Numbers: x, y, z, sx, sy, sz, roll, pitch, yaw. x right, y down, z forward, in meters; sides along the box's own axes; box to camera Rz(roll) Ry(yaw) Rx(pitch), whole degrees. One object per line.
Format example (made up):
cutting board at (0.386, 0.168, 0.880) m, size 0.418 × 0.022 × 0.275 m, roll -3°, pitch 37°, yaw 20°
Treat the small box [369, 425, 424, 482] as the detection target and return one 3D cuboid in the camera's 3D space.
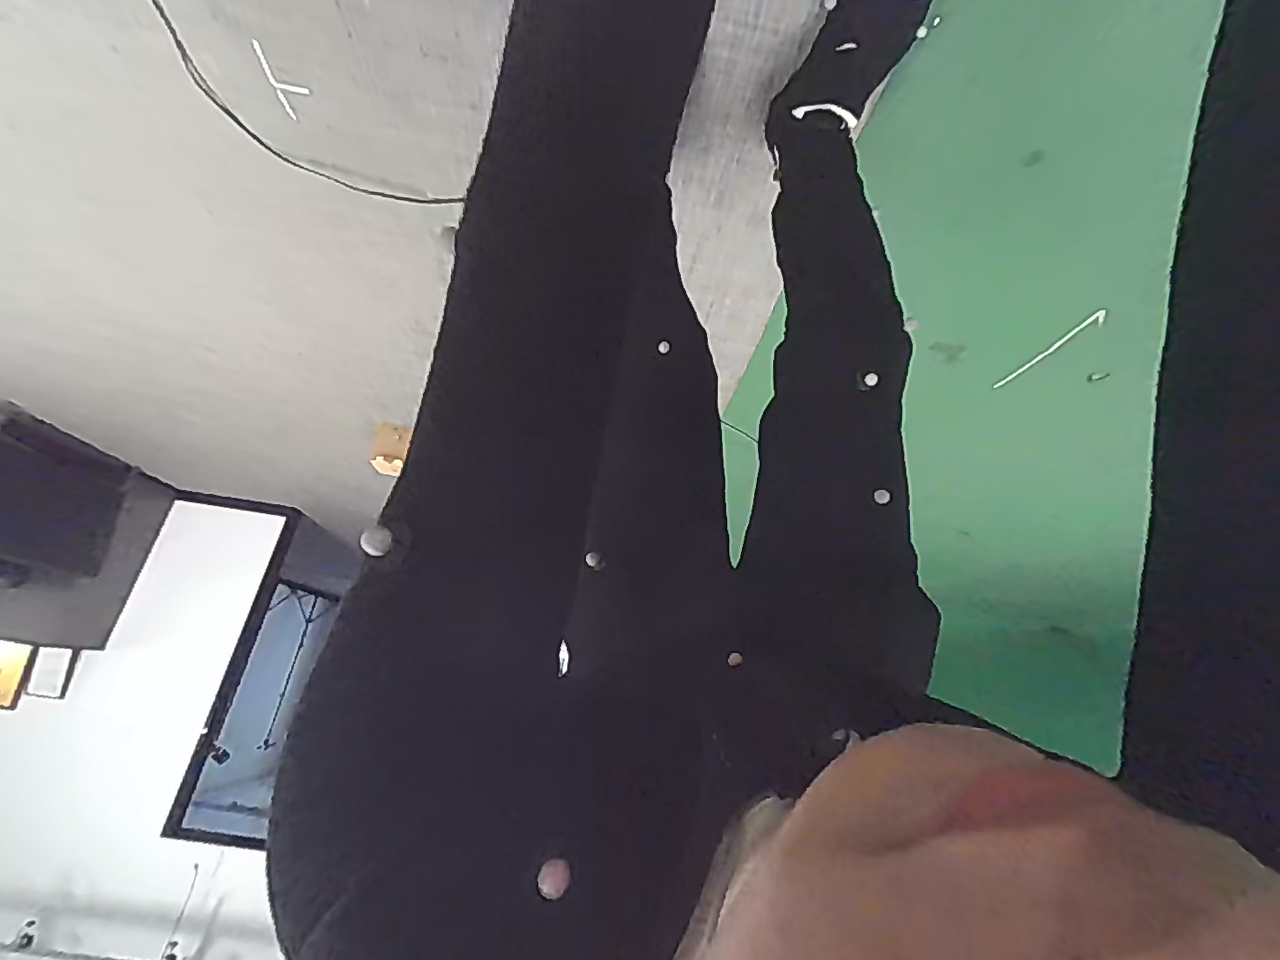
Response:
small box at (-1.014, -0.110, 2.264) m, size 0.168 × 0.176 × 0.179 m, roll 12°, pitch 157°, yaw -14°
